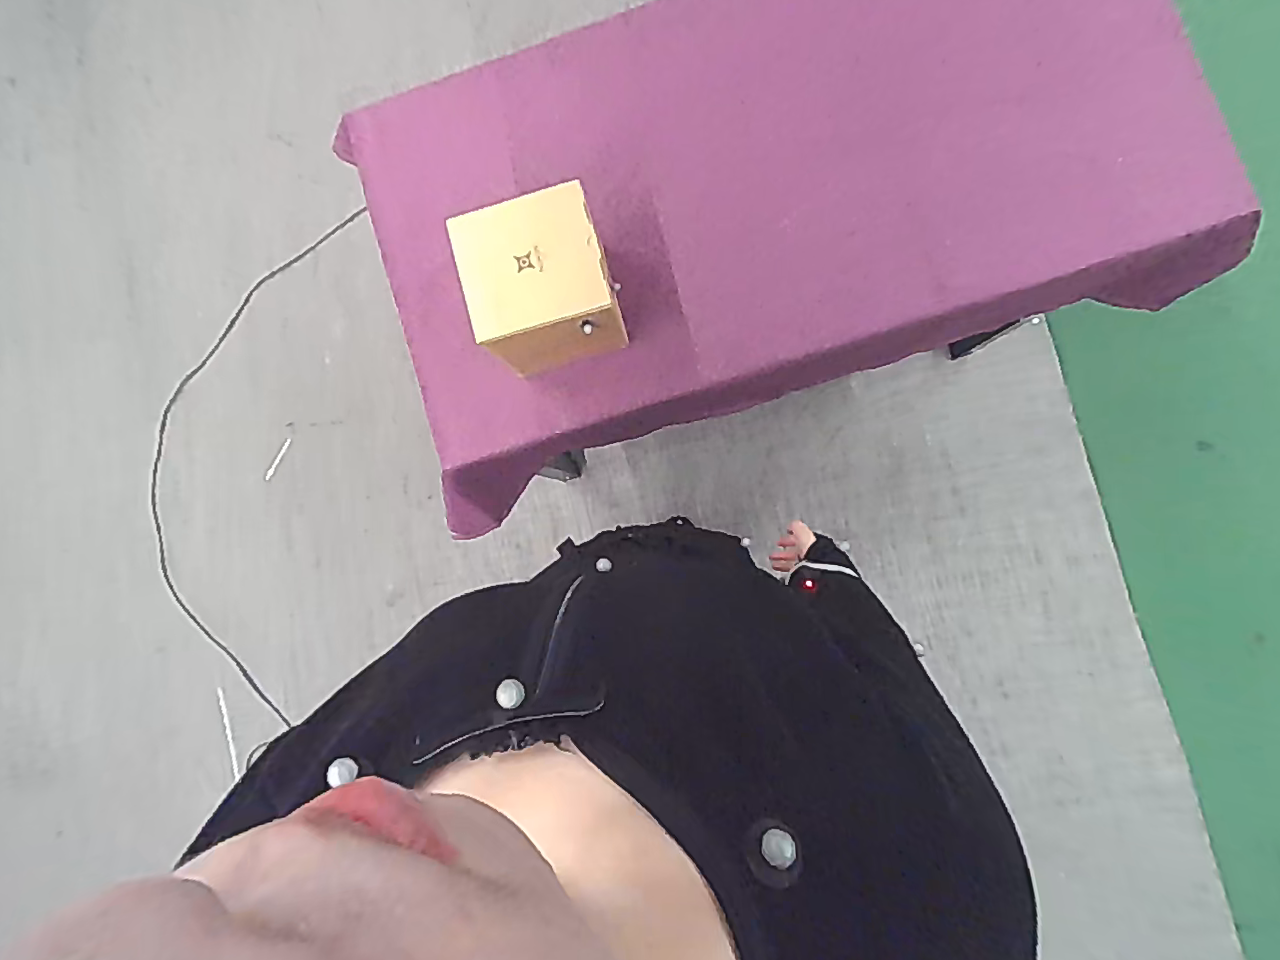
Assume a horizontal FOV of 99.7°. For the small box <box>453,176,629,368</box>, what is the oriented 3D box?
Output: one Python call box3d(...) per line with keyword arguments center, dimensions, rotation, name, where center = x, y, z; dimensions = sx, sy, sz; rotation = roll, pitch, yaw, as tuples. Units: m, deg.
box3d(center=(-0.124, -0.268, 0.739), dimensions=(0.179, 0.176, 0.168), rotation=(-15, 85, 4), name="small box")
